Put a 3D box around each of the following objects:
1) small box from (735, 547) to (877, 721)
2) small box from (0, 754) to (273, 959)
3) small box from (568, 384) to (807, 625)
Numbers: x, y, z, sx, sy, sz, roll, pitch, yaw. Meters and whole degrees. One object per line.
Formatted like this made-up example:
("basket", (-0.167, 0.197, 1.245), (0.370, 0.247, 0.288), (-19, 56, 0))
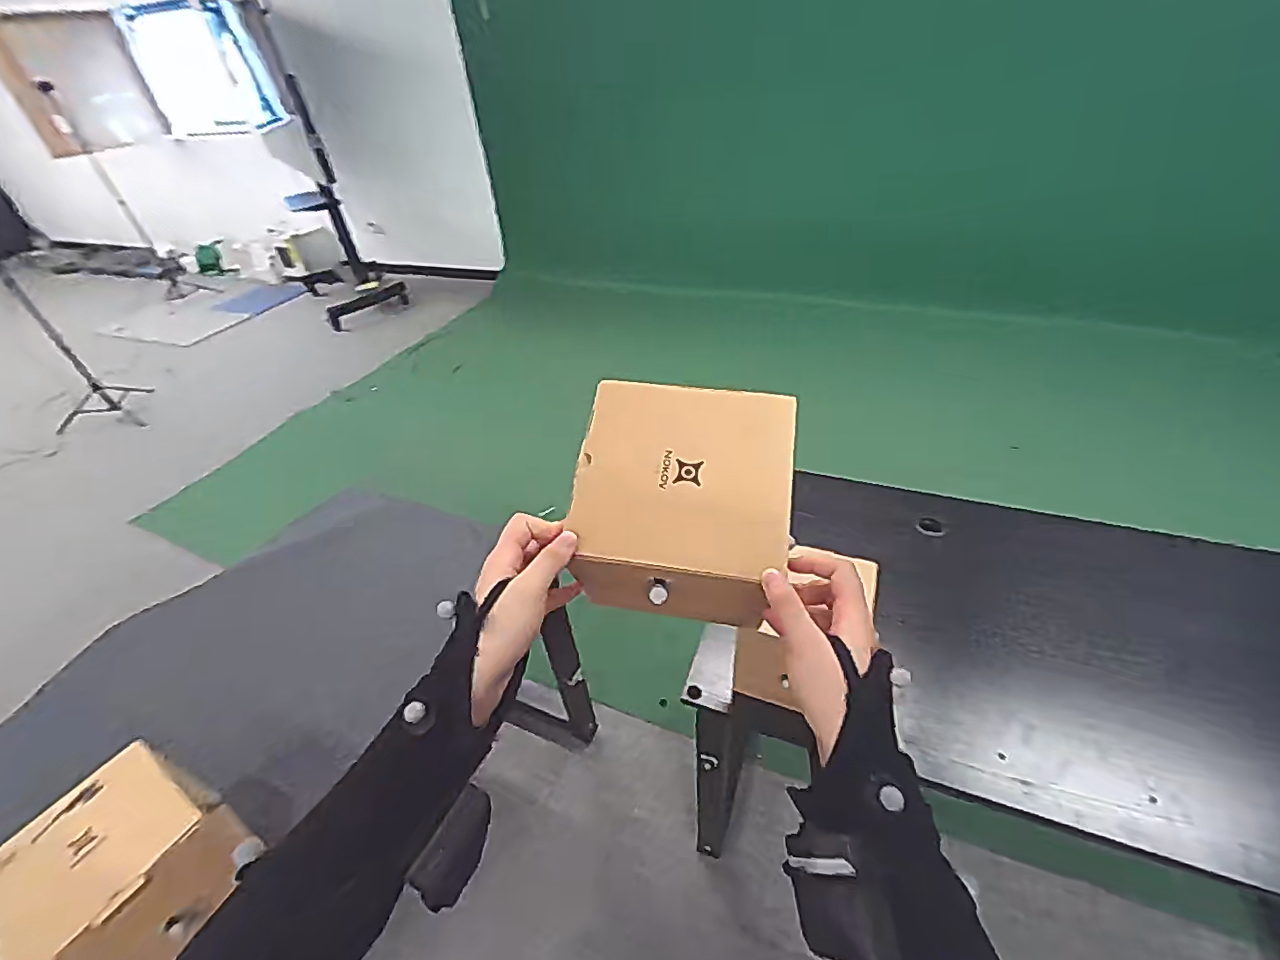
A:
("small box", (0.240, 0.220, 0.797), (0.168, 0.176, 0.179), (12, 42, 19))
("small box", (-0.568, 0.457, 0.610), (0.179, 0.176, 0.168), (18, 45, 27))
("small box", (0.050, 0.032, 0.506), (0.179, 0.176, 0.168), (6, 65, 10))
